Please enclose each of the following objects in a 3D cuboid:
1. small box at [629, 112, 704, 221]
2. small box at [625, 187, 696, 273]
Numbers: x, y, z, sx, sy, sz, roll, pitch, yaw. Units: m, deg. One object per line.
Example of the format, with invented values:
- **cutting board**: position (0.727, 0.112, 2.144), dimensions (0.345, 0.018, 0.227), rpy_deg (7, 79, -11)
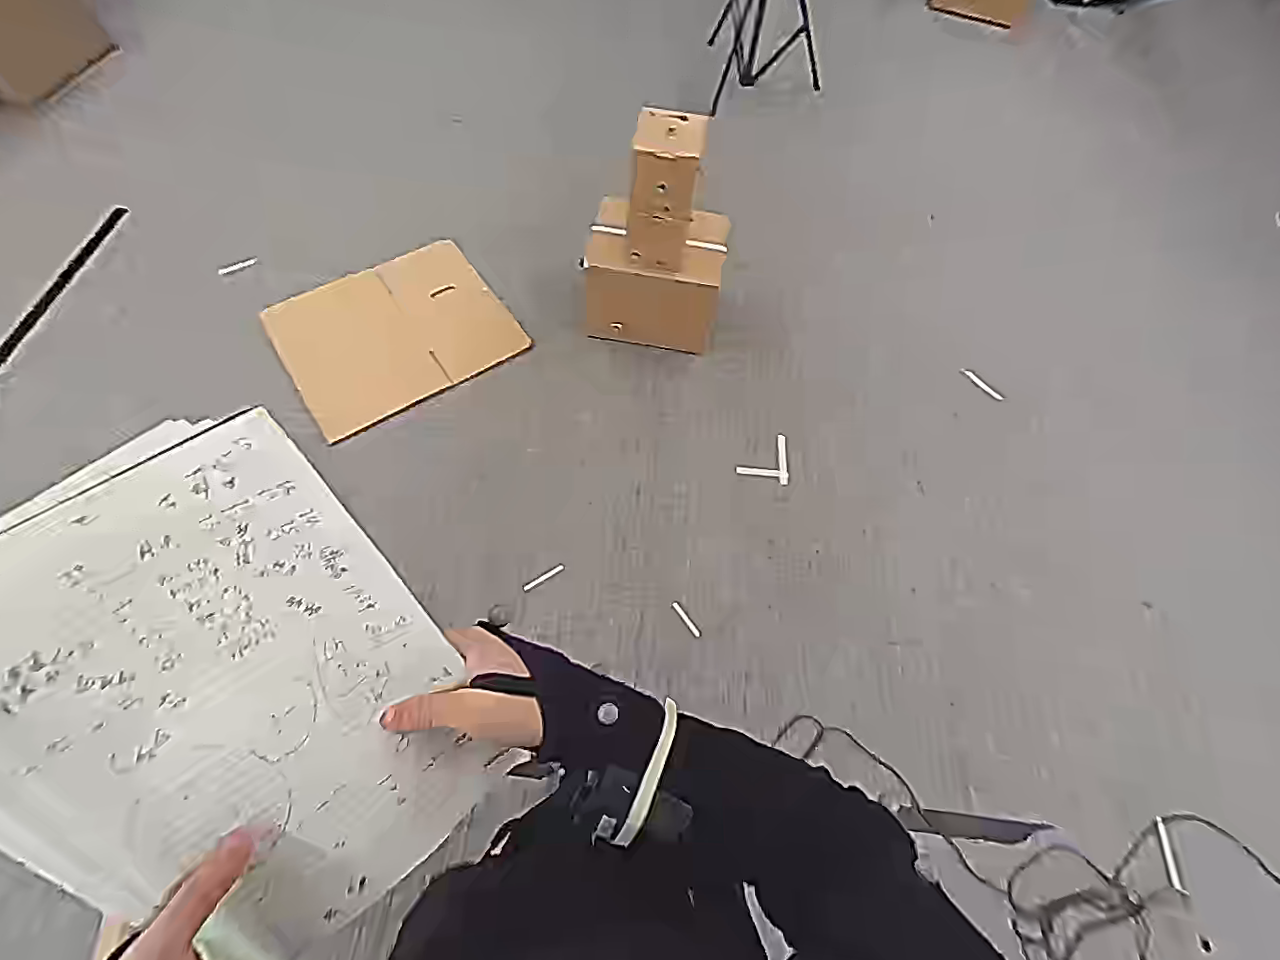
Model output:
- **small box**: position (0.065, -0.800, 1.391), dimensions (0.168, 0.176, 0.179), rpy_deg (9, 65, 1)
- **small box**: position (0.056, -0.719, 1.533), dimensions (0.168, 0.176, 0.179), rpy_deg (12, 63, 3)
